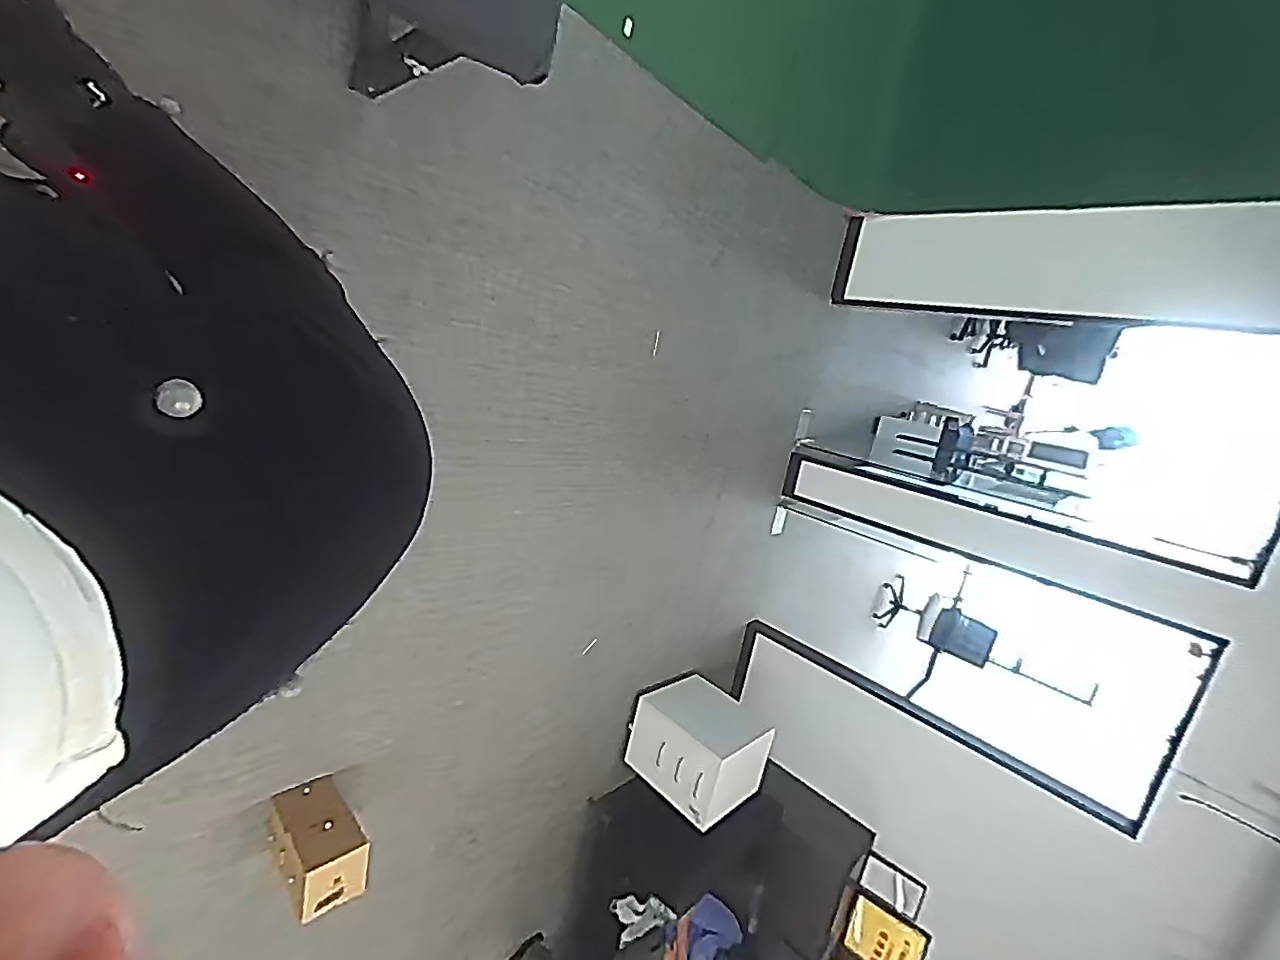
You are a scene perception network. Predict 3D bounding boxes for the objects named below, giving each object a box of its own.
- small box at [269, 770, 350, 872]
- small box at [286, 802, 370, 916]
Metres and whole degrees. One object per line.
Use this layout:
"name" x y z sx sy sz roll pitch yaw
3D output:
"small box" -1.031 1.050 1.681 0.179 0.176 0.168 -1 108 -48
"small box" -0.912 1.092 1.574 0.168 0.176 0.179 -3 109 -48
